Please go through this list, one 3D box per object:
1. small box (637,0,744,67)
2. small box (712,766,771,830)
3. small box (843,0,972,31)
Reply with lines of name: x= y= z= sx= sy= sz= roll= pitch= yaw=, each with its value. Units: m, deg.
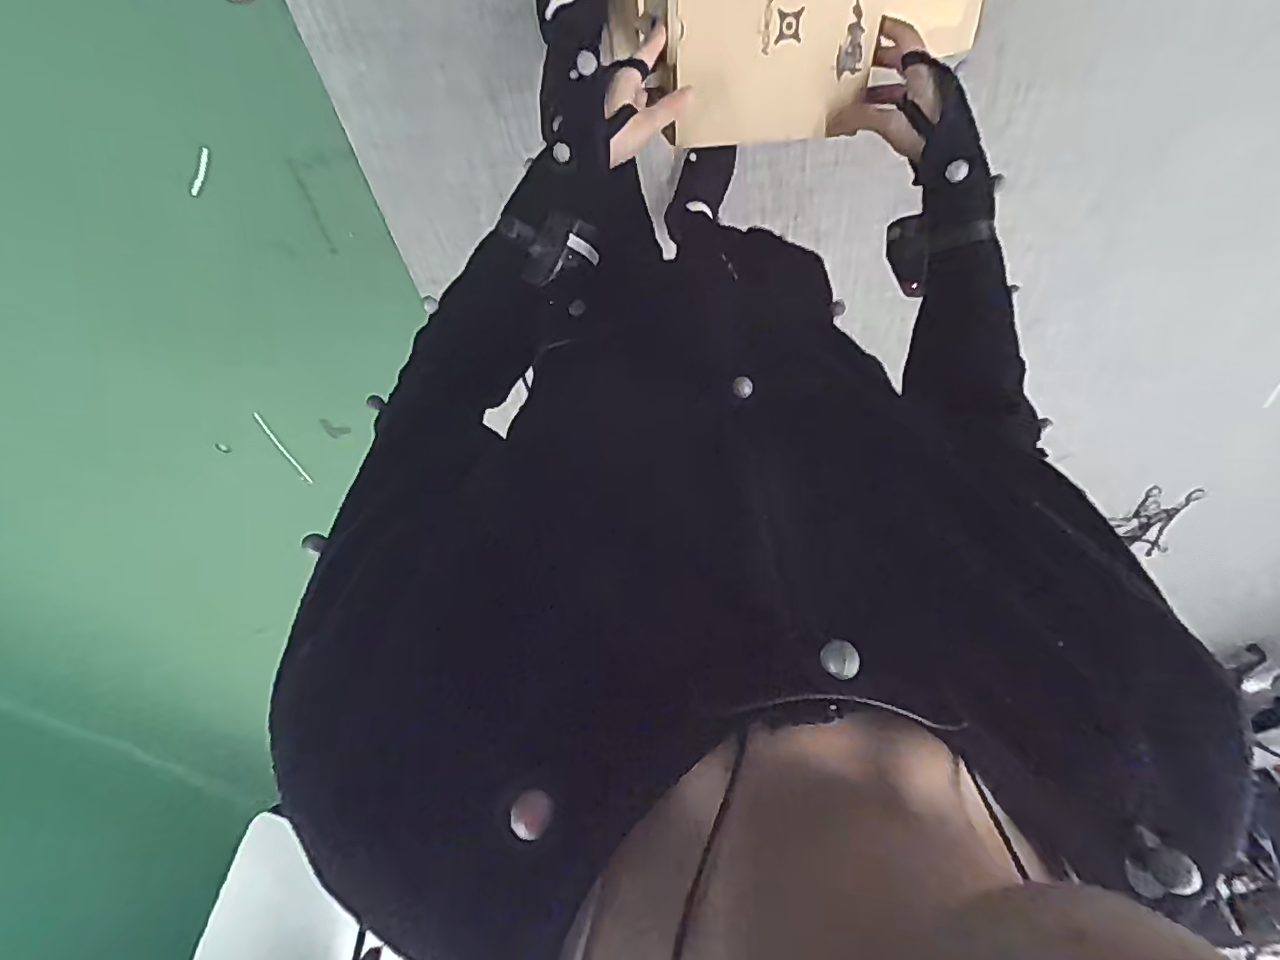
small box: x=0.081 y=-0.825 z=0.910 sx=0.168 sy=0.176 sz=0.179 roll=-4 pitch=136 yaw=0
small box: x=0.359 y=1.143 z=1.943 sx=0.179 sy=0.176 sz=0.168 roll=-4 pitch=137 yaw=2
small box: x=0.449 y=-0.869 z=0.889 sx=0.168 sy=0.176 sz=0.179 roll=-5 pitch=136 yaw=1
